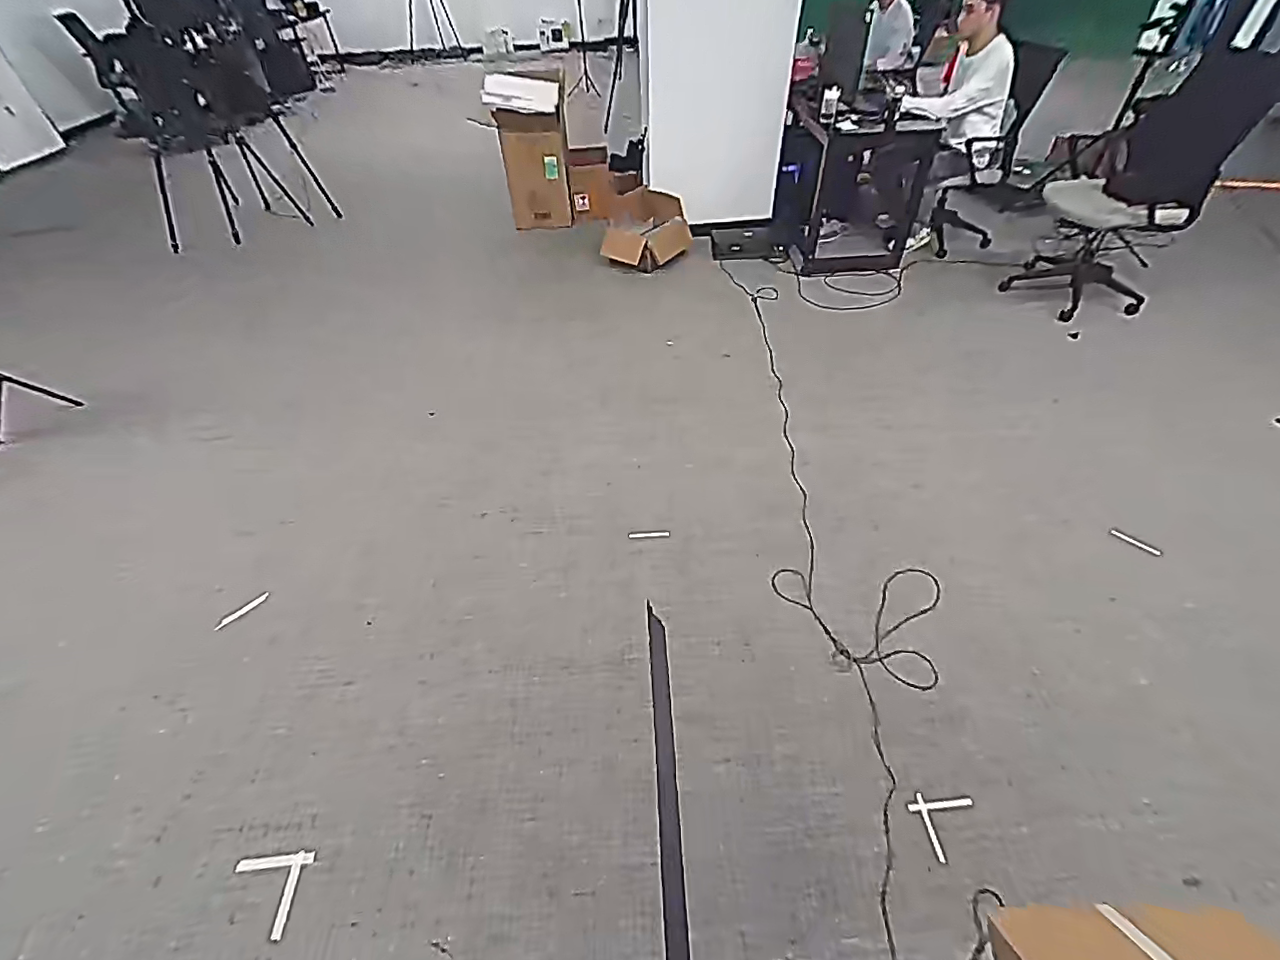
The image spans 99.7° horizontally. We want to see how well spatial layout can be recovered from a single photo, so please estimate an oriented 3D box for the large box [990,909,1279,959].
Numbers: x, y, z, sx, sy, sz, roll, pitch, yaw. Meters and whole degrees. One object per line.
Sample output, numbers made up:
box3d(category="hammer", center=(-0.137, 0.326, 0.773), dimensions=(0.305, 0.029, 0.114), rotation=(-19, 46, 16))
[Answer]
box3d(category="large box", center=(0.636, 0.729, 0.545), dimensions=(0.320, 0.408, 0.320), rotation=(-6, 80, 7))
